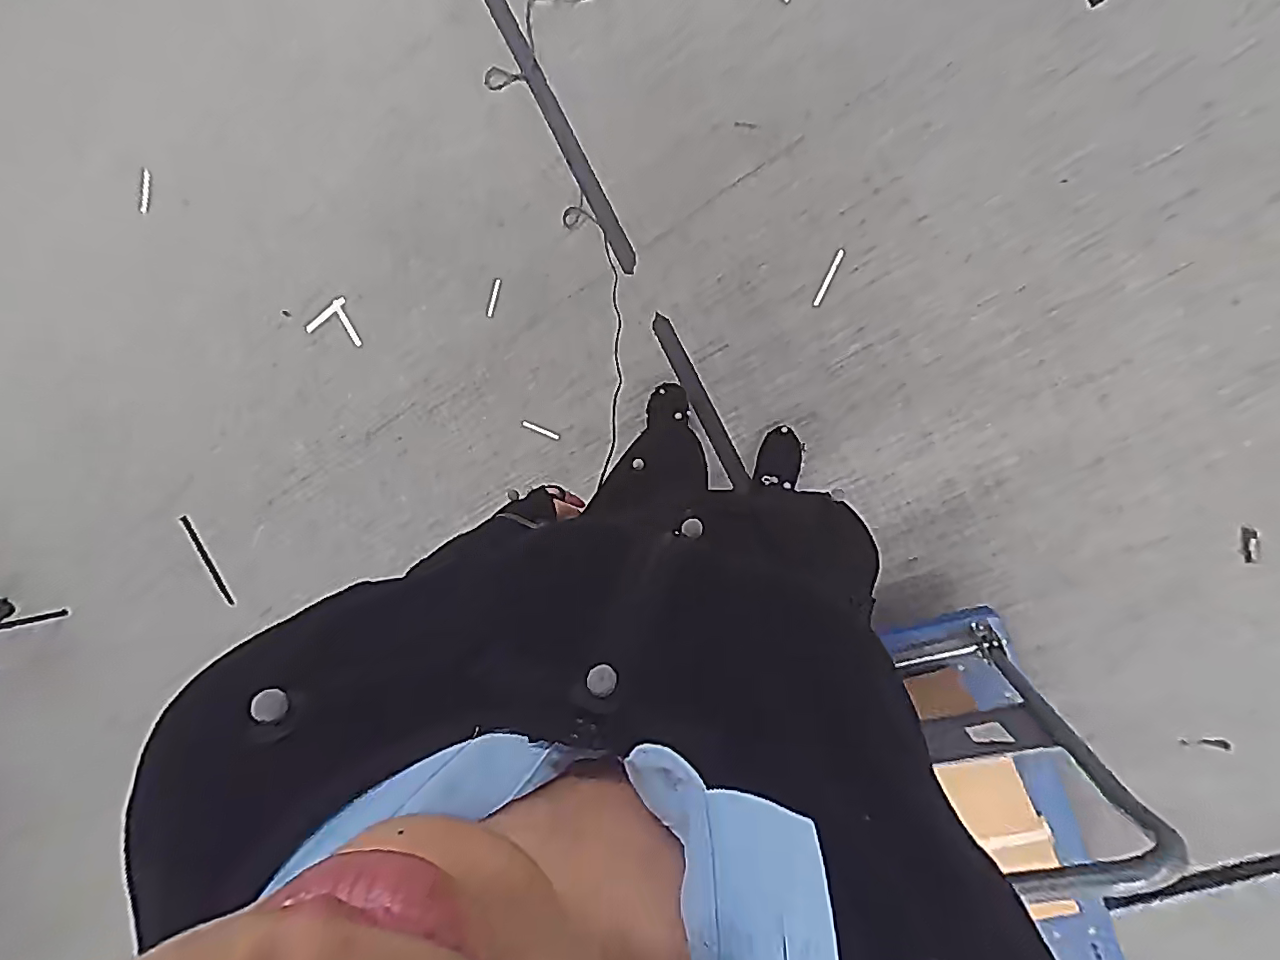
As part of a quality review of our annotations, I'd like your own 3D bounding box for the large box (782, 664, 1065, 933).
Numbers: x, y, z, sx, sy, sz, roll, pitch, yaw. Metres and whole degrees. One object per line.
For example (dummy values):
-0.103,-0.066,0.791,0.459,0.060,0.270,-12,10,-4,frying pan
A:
0.546,0.645,1.134,0.408,0.320,0.320,-24,91,17,large box
